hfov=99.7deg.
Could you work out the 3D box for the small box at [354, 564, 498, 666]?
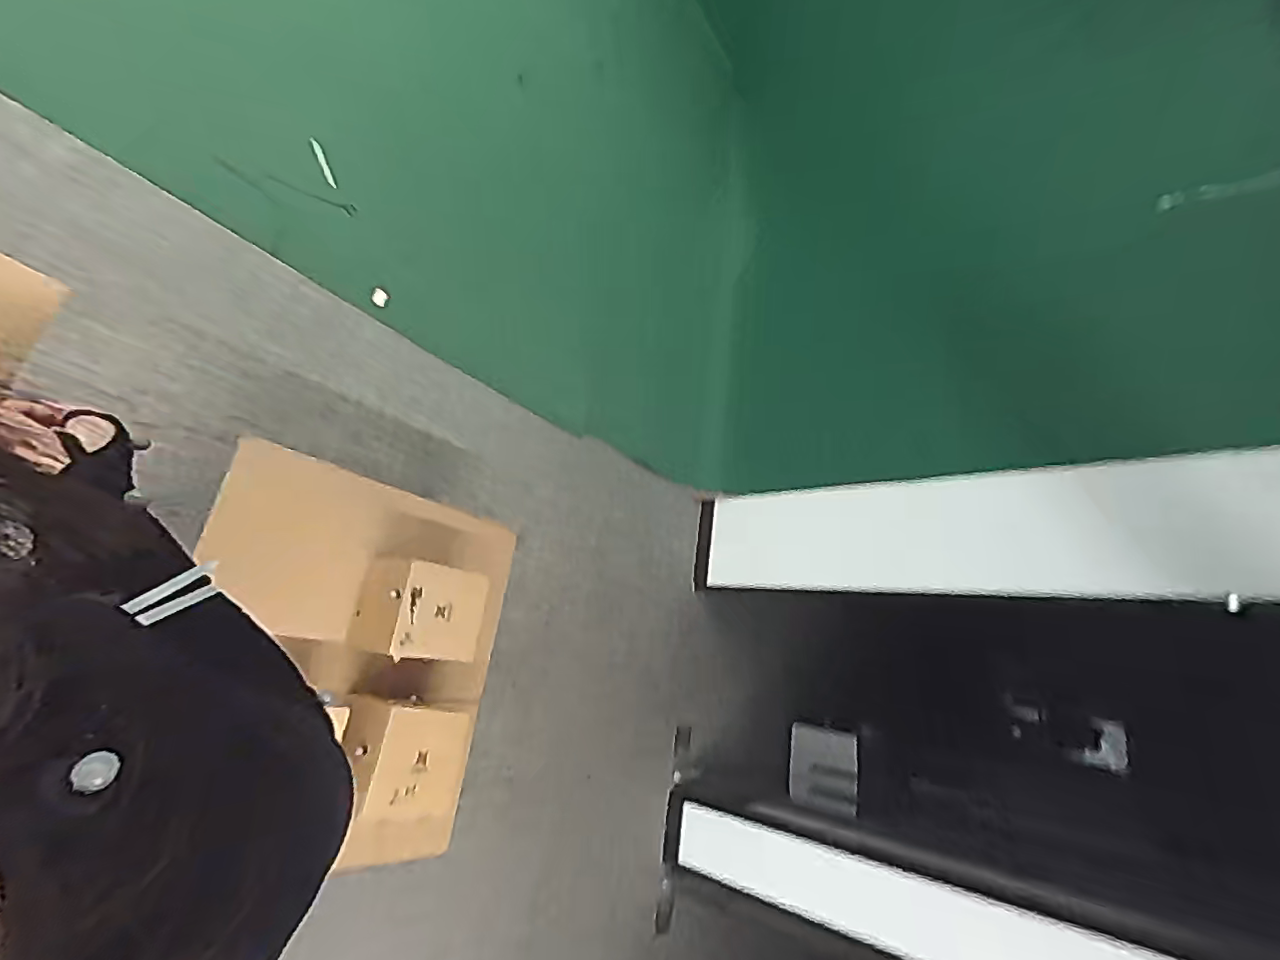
[{"bbox_3d":[-0.410,0.259,1.045,0.179,0.176,0.168,29,62,-47],"label":"small box"}]
